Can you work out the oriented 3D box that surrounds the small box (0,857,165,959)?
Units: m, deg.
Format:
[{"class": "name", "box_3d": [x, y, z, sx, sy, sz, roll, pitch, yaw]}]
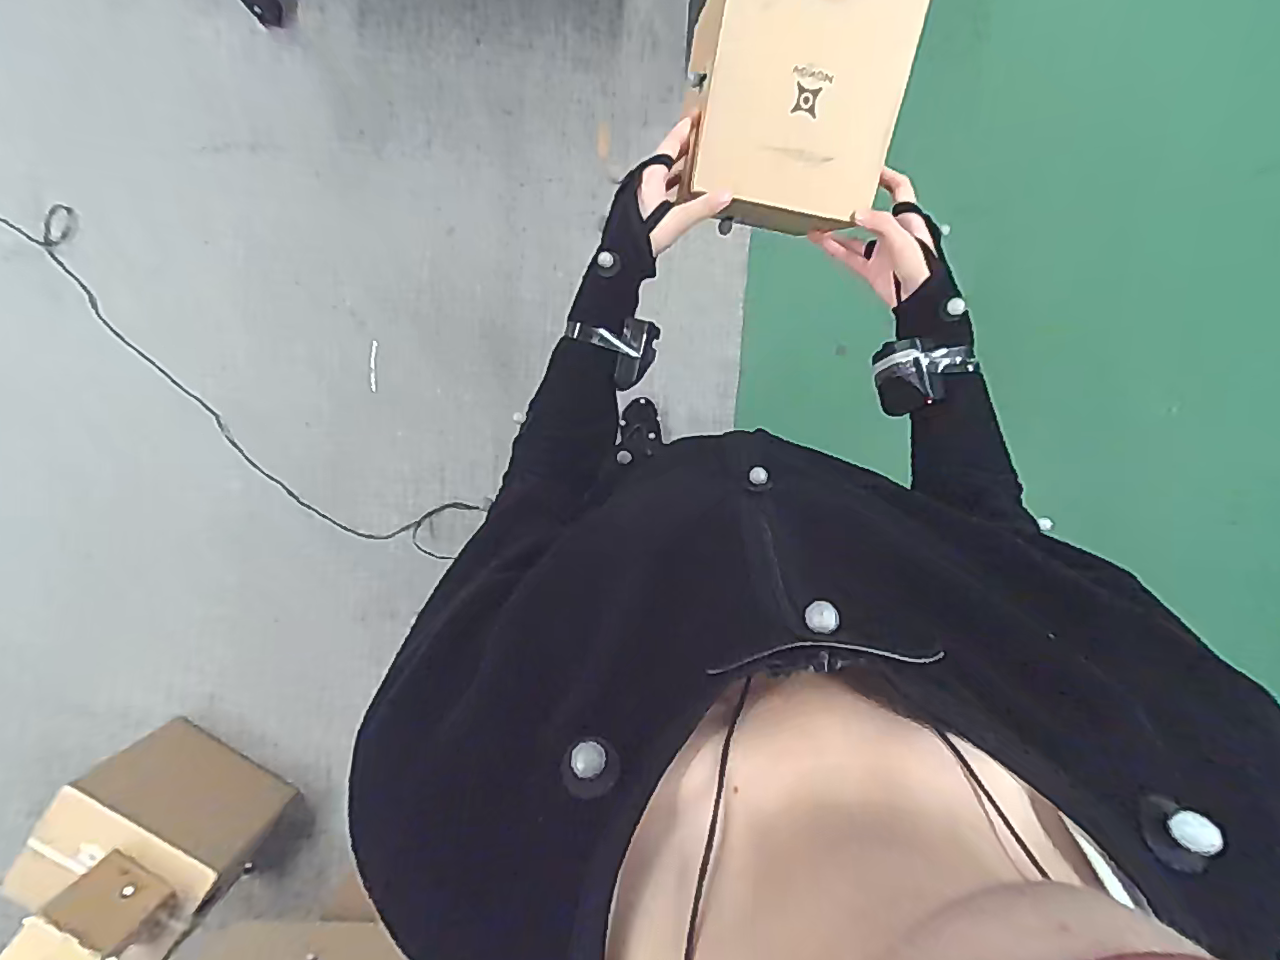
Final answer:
[{"class": "small box", "box_3d": [-1.173, 0.961, 1.139, 0.168, 0.176, 0.179, 38, 93, -3]}]

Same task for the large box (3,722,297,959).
[{"class": "large box", "box_3d": [-1.208, 0.915, 1.380, 0.408, 0.320, 0.320, 34, 92, -1]}]

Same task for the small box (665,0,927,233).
[{"class": "small box", "box_3d": [0.126, -0.349, 0.515, 0.168, 0.176, 0.179, 8, 110, -9]}]
